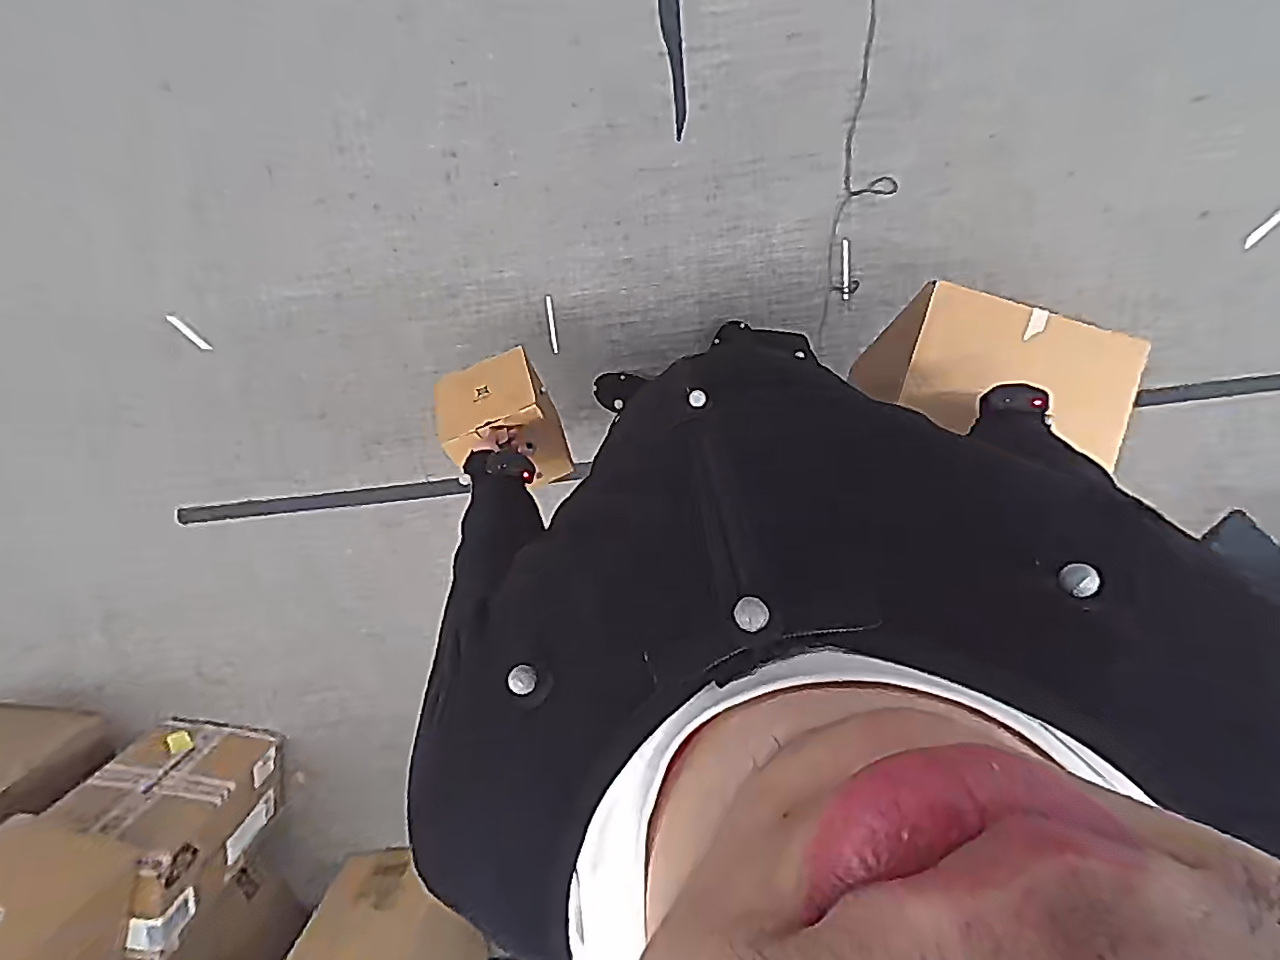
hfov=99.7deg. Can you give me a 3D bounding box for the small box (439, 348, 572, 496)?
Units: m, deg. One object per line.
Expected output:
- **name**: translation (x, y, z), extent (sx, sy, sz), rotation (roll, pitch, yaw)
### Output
- **small box**: translation (-0.234, -0.094, 0.956), extent (0.168, 0.179, 0.176), rotation (-23, 138, -1)
